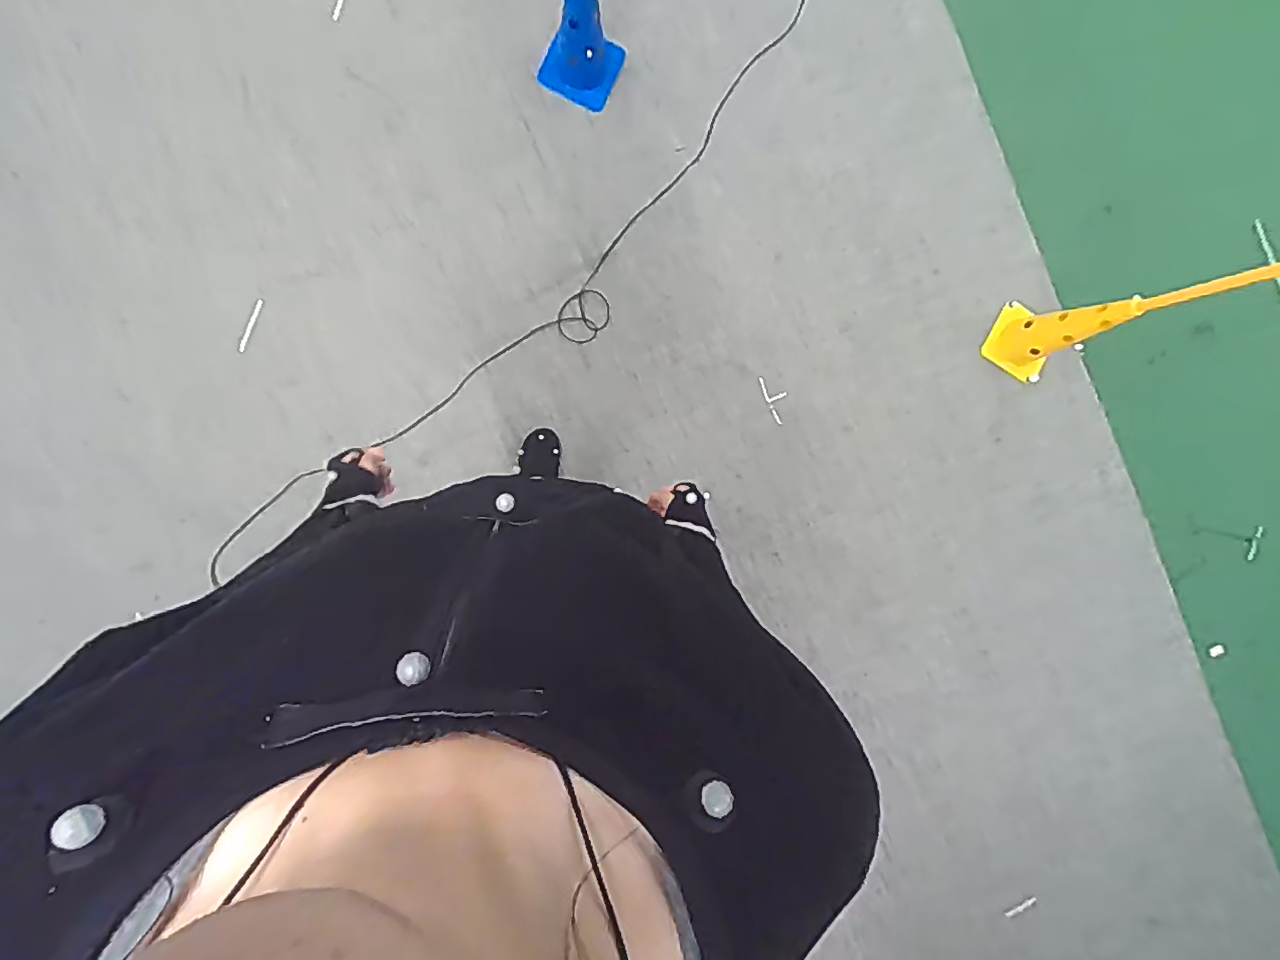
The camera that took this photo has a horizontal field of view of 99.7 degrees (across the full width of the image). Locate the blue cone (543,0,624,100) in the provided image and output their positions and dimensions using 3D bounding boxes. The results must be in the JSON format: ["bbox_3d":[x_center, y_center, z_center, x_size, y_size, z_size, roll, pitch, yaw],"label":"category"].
[{"bbox_3d":[-0.142,-1.144,1.310,0.193,0.380,0.192,22,89,-5],"label":"blue cone"}]
